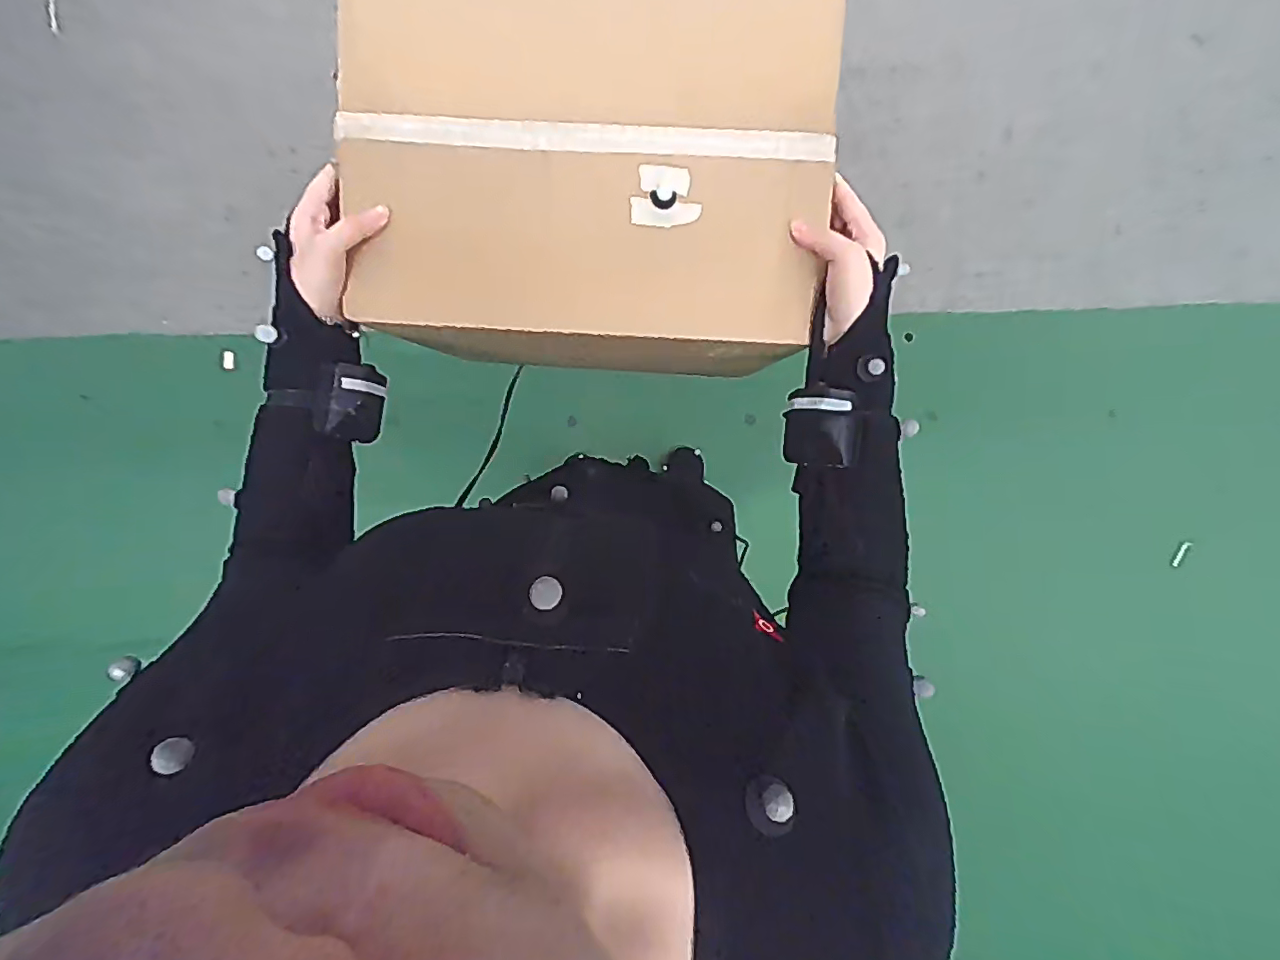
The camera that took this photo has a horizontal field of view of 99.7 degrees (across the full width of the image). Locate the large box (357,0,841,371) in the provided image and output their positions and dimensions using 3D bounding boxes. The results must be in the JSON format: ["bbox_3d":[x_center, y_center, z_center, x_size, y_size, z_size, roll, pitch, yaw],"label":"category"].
[{"bbox_3d":[-0.040,-0.298,0.601,0.408,0.320,0.320,3,96,-1],"label":"large box"}]
